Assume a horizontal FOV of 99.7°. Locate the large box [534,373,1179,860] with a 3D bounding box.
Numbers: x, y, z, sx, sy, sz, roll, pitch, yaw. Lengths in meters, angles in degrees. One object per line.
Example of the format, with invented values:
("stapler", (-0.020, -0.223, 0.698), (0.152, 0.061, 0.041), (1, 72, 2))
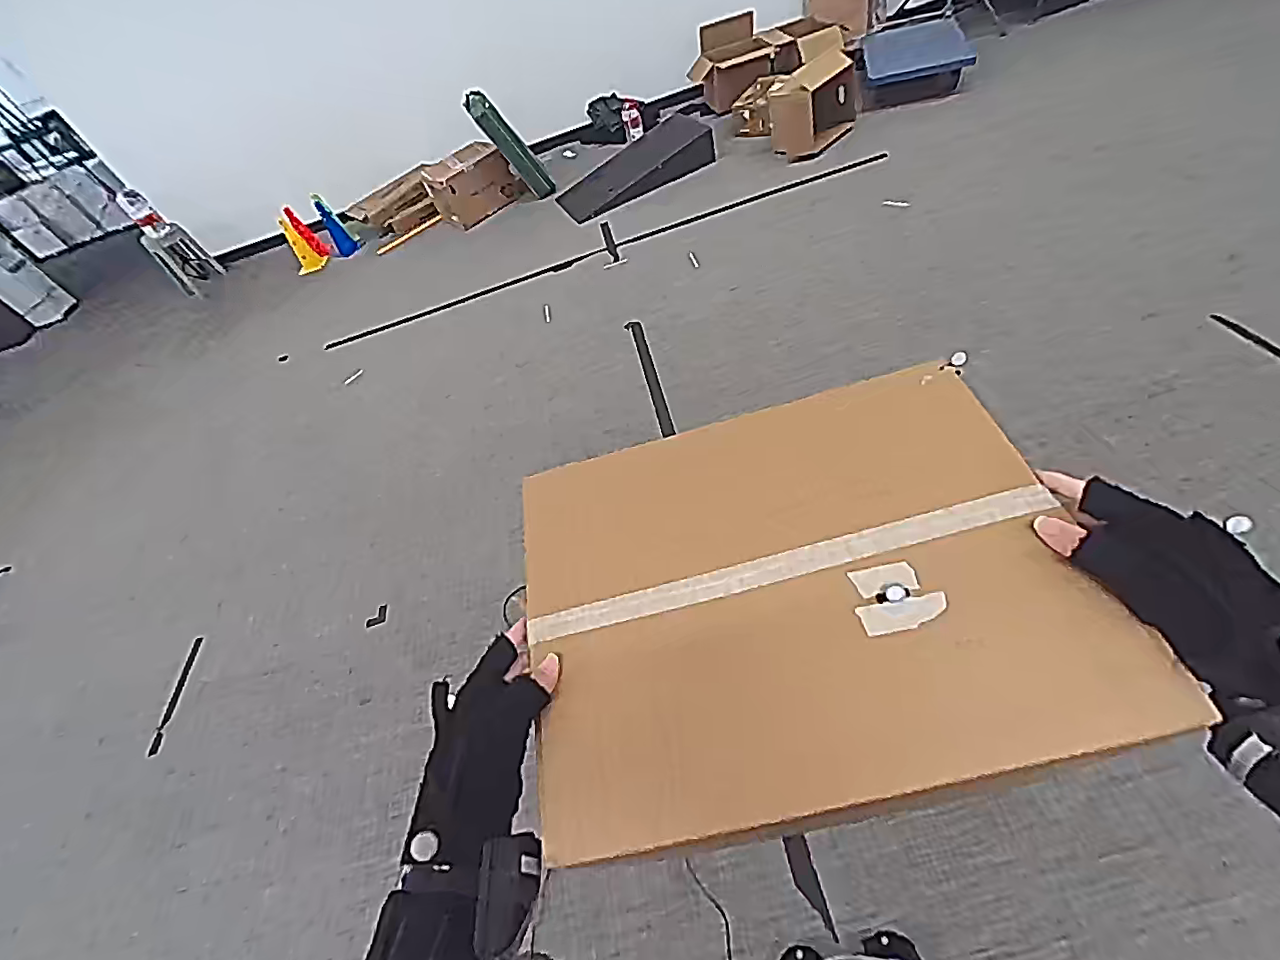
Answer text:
("large box", (0.143, 0.156, 0.546), (0.408, 0.320, 0.320), (-16, 54, 4))
